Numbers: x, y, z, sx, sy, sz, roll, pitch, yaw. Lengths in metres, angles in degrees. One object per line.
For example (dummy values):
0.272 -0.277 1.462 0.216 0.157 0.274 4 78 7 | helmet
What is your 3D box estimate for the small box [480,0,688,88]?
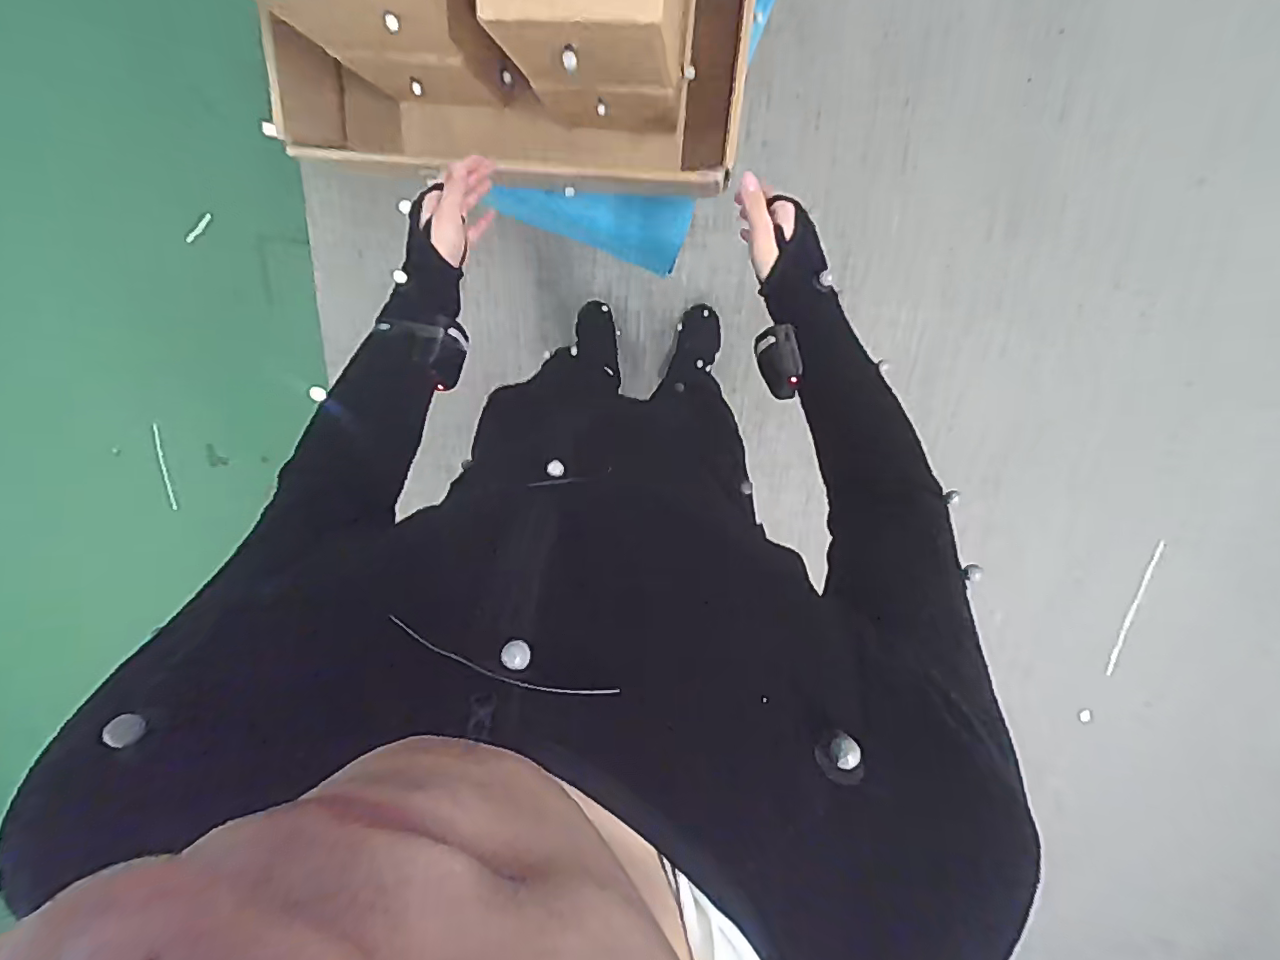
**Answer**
-0.045 -0.519 0.544 0.179 0.176 0.168 7 110 8 | small box
